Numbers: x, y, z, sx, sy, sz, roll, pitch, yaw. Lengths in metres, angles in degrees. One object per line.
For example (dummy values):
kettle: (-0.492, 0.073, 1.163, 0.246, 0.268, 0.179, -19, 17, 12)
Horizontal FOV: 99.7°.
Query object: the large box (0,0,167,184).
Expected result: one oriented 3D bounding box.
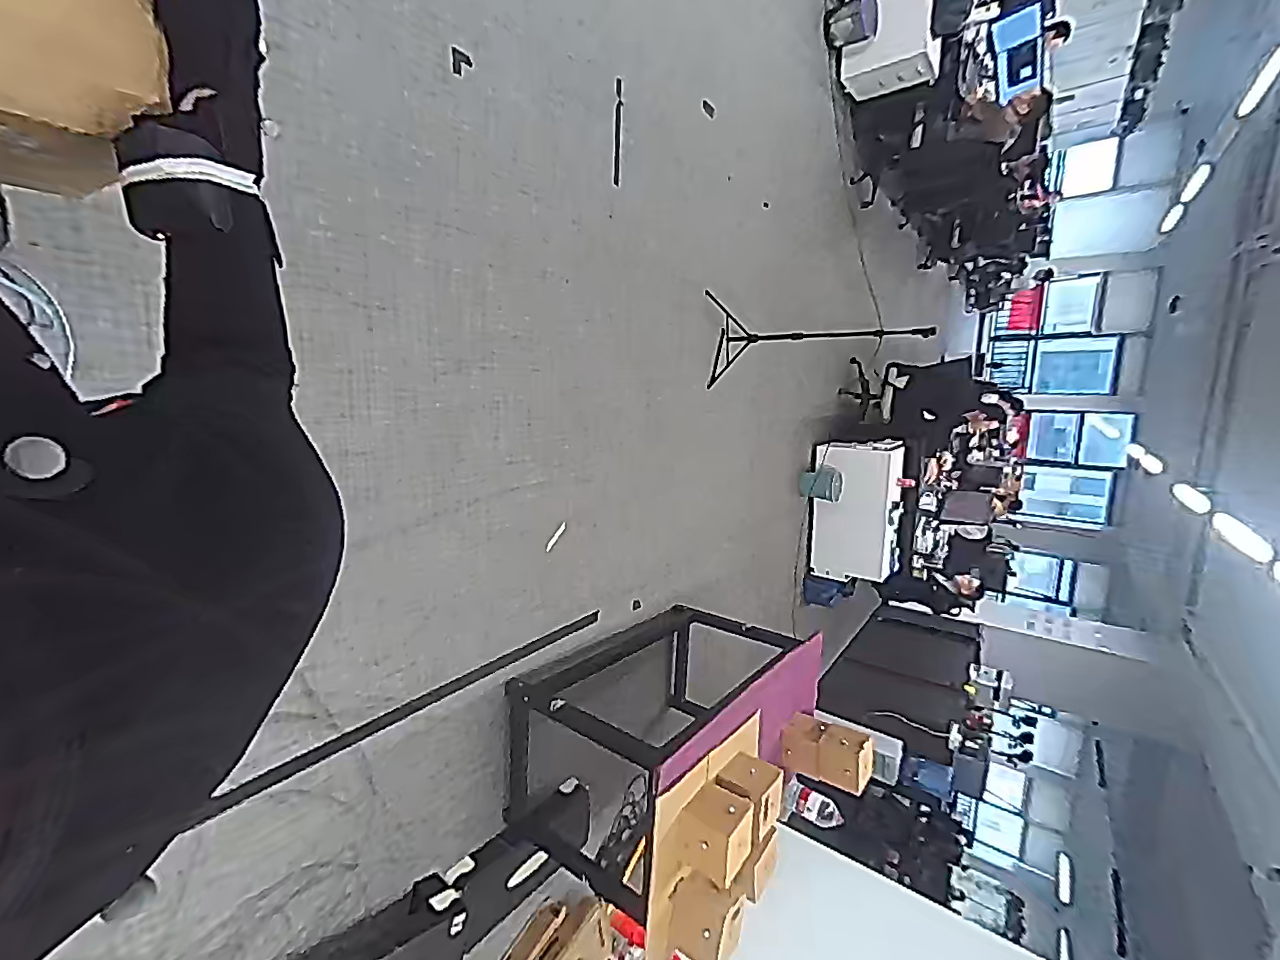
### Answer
large box: (-0.570, -0.399, 0.289, 0.408, 0.320, 0.320, -10, 111, -54)
